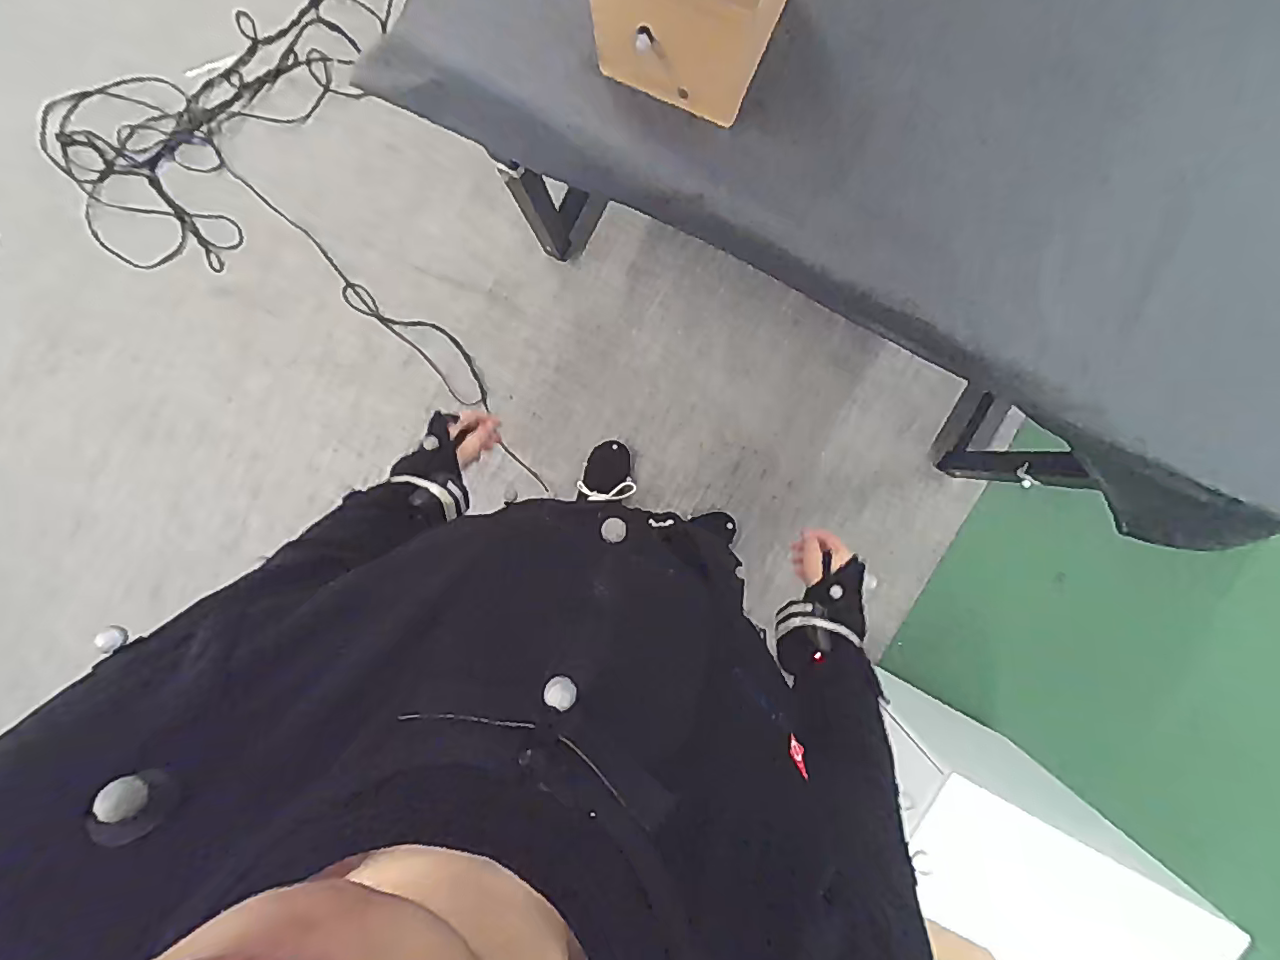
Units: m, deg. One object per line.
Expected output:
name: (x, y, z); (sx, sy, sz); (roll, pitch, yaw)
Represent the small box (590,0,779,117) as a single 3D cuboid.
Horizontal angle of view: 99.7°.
small box: (0.057, -0.514, 0.537); (0.168, 0.176, 0.179); (23, 93, -1)
